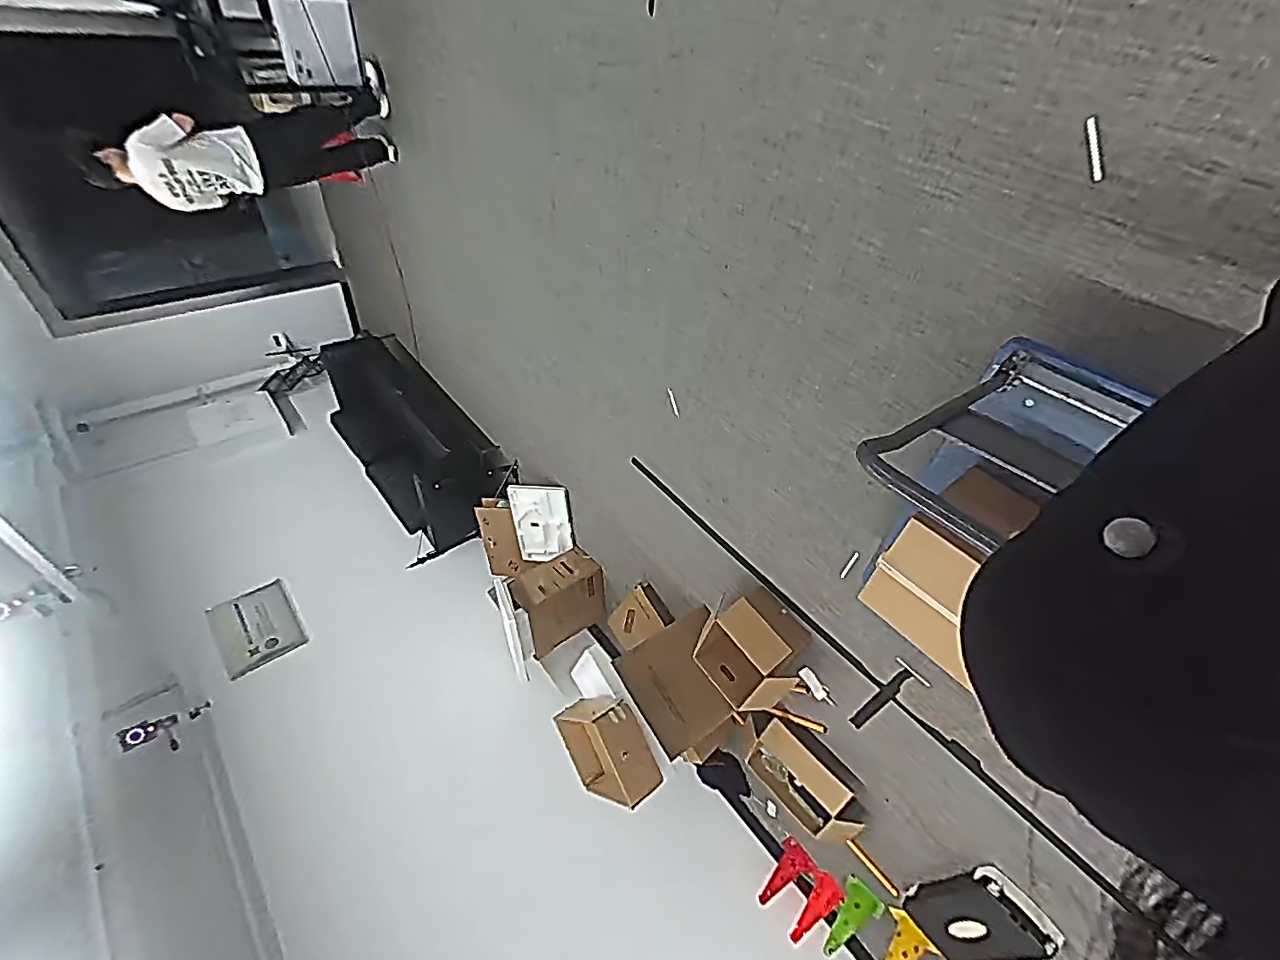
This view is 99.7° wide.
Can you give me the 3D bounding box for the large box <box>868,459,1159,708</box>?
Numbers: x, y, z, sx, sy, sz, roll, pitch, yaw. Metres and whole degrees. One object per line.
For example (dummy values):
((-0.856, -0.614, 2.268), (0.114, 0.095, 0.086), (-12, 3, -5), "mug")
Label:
((0.829, 0.218, 1.245), (0.408, 0.320, 0.320), (42, 143, 30), "large box")
